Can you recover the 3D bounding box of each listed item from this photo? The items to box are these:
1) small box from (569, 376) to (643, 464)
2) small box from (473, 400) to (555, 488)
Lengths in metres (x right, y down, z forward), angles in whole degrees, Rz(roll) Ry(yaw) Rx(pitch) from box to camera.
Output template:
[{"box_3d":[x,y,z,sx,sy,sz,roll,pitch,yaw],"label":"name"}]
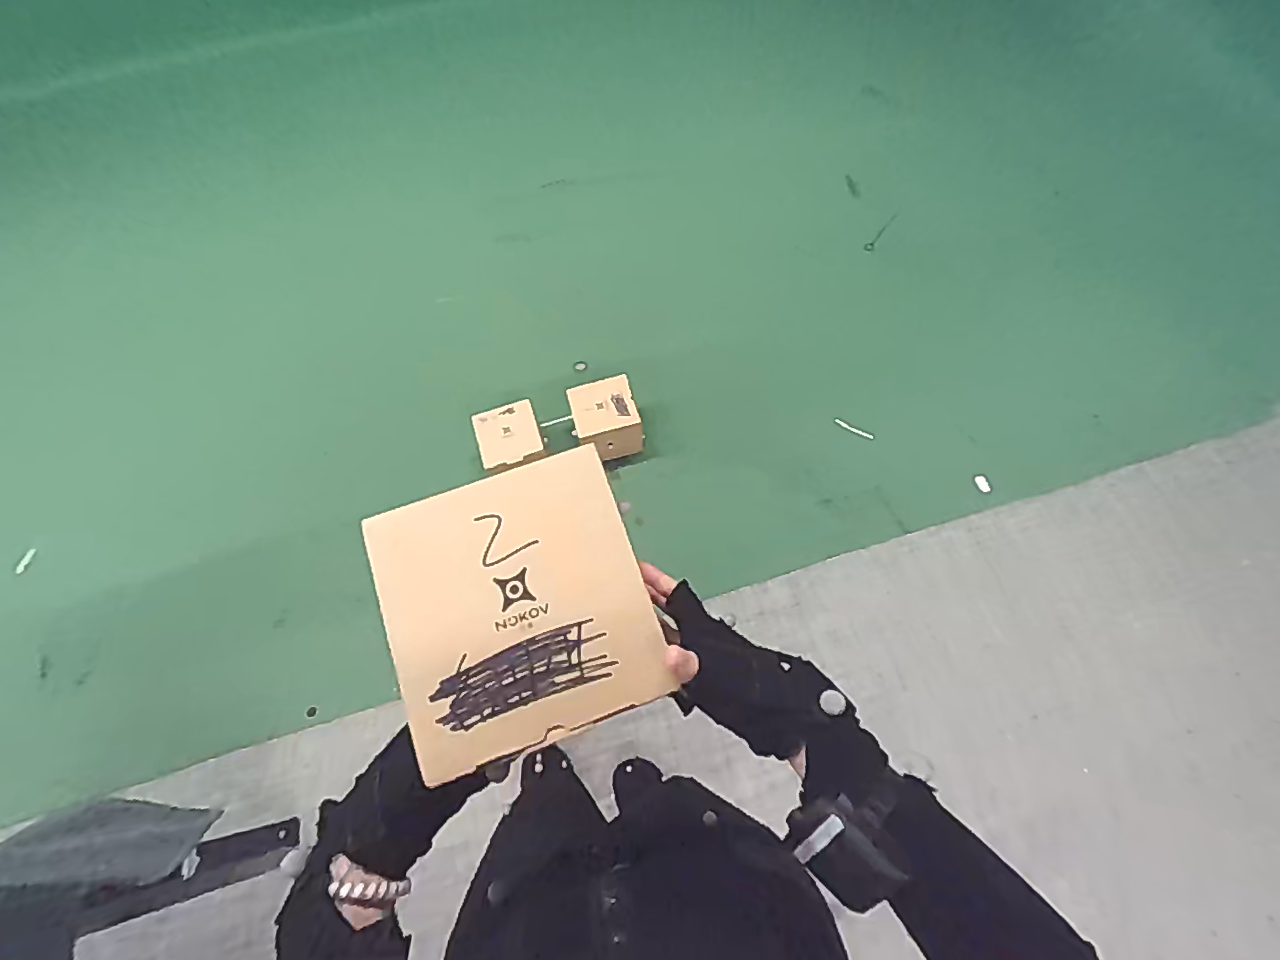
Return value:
[{"box_3d":[-0.092,-0.166,1.539,0.179,0.176,0.168,-15,66,-4],"label":"small box"},{"box_3d":[-0.348,-0.091,1.518,0.168,0.176,0.179,-18,68,-5],"label":"small box"}]
